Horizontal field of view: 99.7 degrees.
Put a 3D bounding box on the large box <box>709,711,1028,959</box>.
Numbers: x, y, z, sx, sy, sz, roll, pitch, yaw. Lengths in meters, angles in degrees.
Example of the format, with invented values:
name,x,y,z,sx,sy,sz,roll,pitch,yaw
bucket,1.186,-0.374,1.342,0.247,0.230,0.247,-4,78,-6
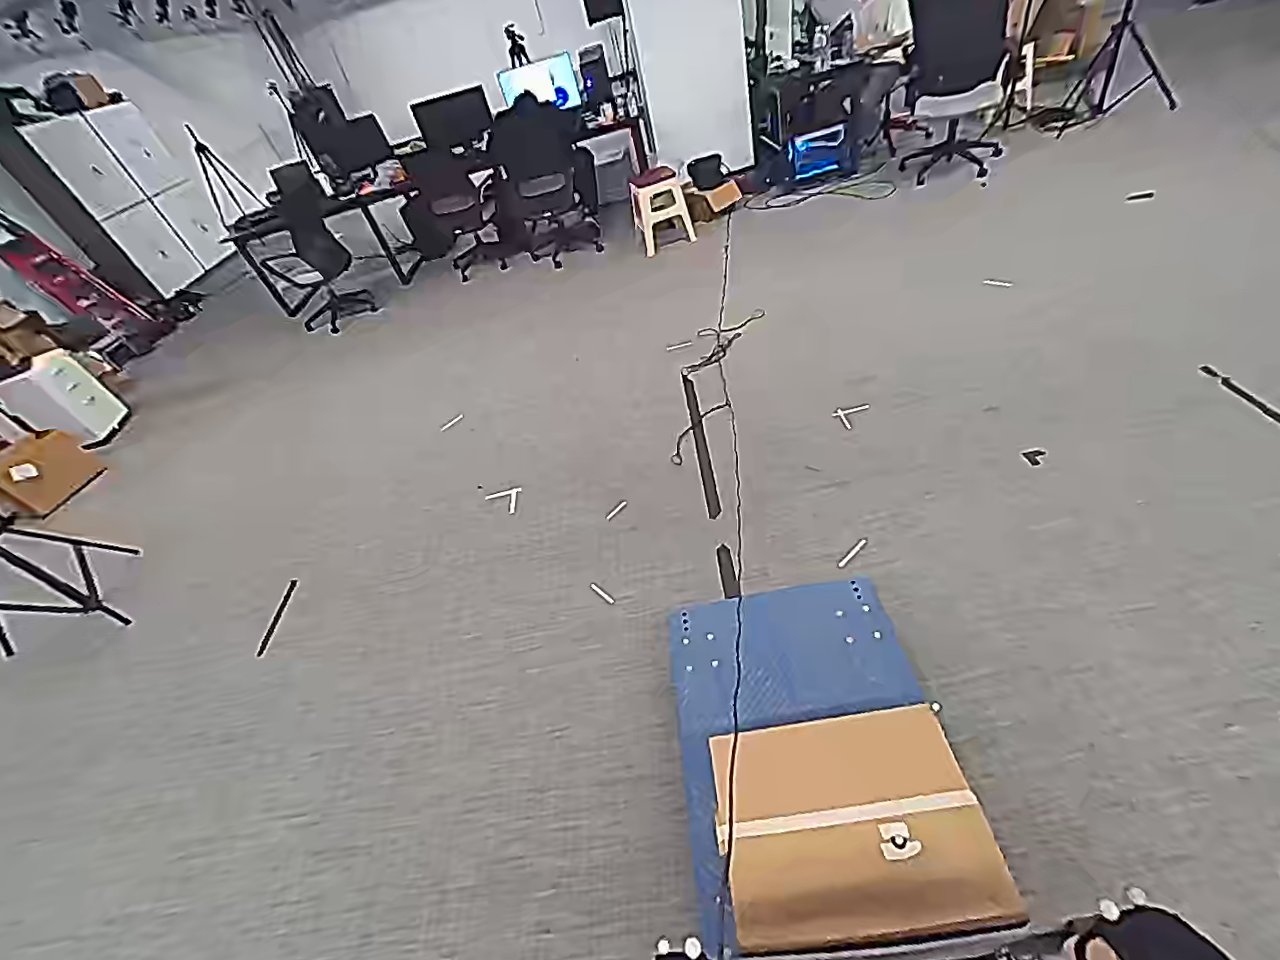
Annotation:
name,x,y,z,sx,sy,sz,roll,pitch,yaw
large box,0.361,0.660,0.959,0.408,0.320,0.320,-12,42,6
